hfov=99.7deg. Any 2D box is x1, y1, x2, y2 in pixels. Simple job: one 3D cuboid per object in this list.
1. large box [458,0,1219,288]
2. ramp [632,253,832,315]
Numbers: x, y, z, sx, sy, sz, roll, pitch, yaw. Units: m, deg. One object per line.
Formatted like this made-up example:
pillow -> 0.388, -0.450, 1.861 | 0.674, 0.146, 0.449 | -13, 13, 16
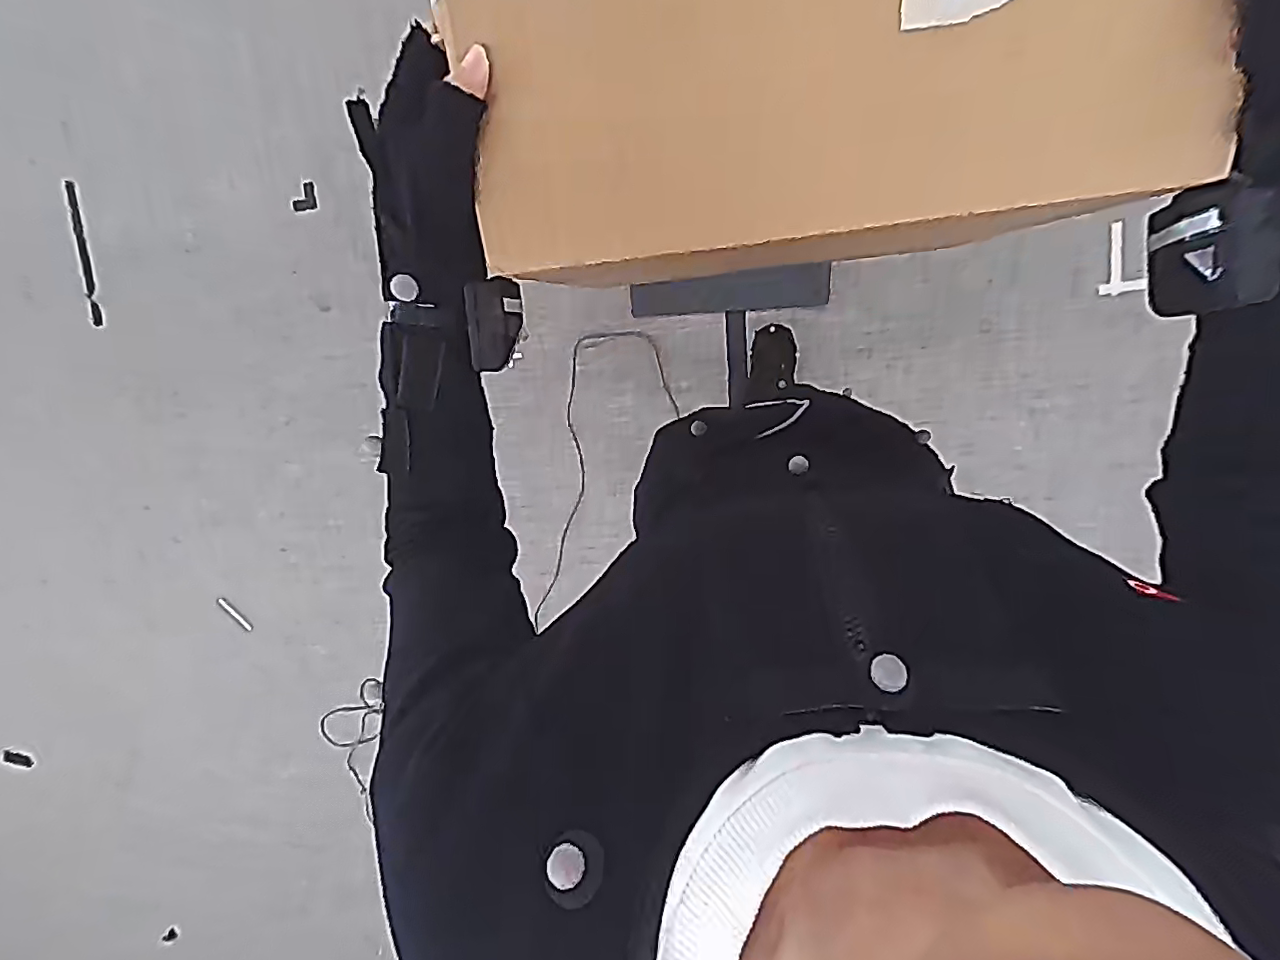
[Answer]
large box -> 0.104, -0.345, 0.423 | 0.408, 0.320, 0.320 | -5, 108, 8
ramp -> 0.193, -0.899, 1.200 | 0.509, 0.206, 0.991 | -3, 100, 8
